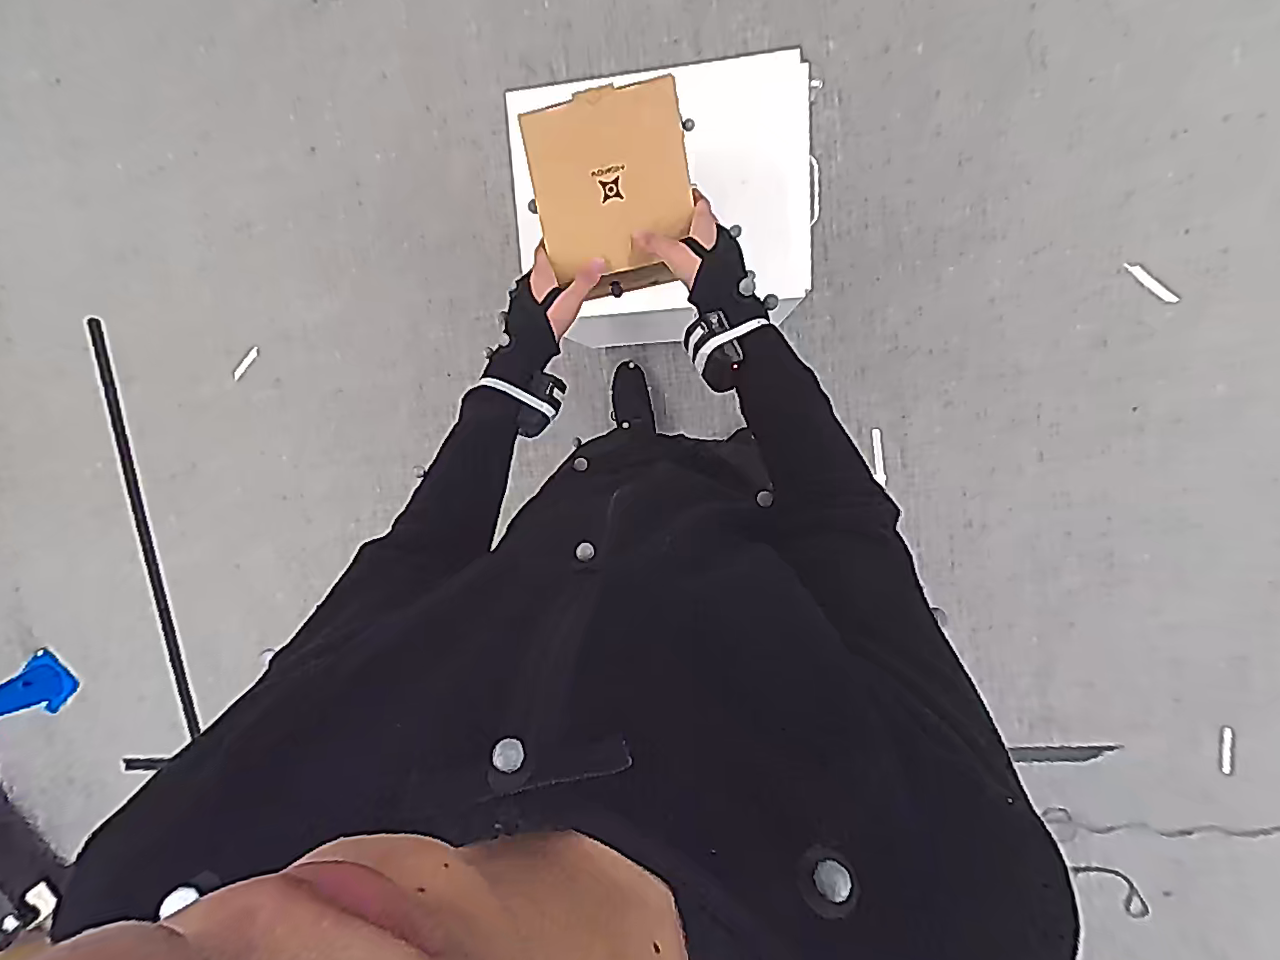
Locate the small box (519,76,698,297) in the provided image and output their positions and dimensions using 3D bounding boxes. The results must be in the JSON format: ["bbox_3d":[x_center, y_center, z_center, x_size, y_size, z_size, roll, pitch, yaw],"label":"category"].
[{"bbox_3d":[-0.023,-0.325,0.644,0.168,0.176,0.179,-10,100,7],"label":"small box"}]
